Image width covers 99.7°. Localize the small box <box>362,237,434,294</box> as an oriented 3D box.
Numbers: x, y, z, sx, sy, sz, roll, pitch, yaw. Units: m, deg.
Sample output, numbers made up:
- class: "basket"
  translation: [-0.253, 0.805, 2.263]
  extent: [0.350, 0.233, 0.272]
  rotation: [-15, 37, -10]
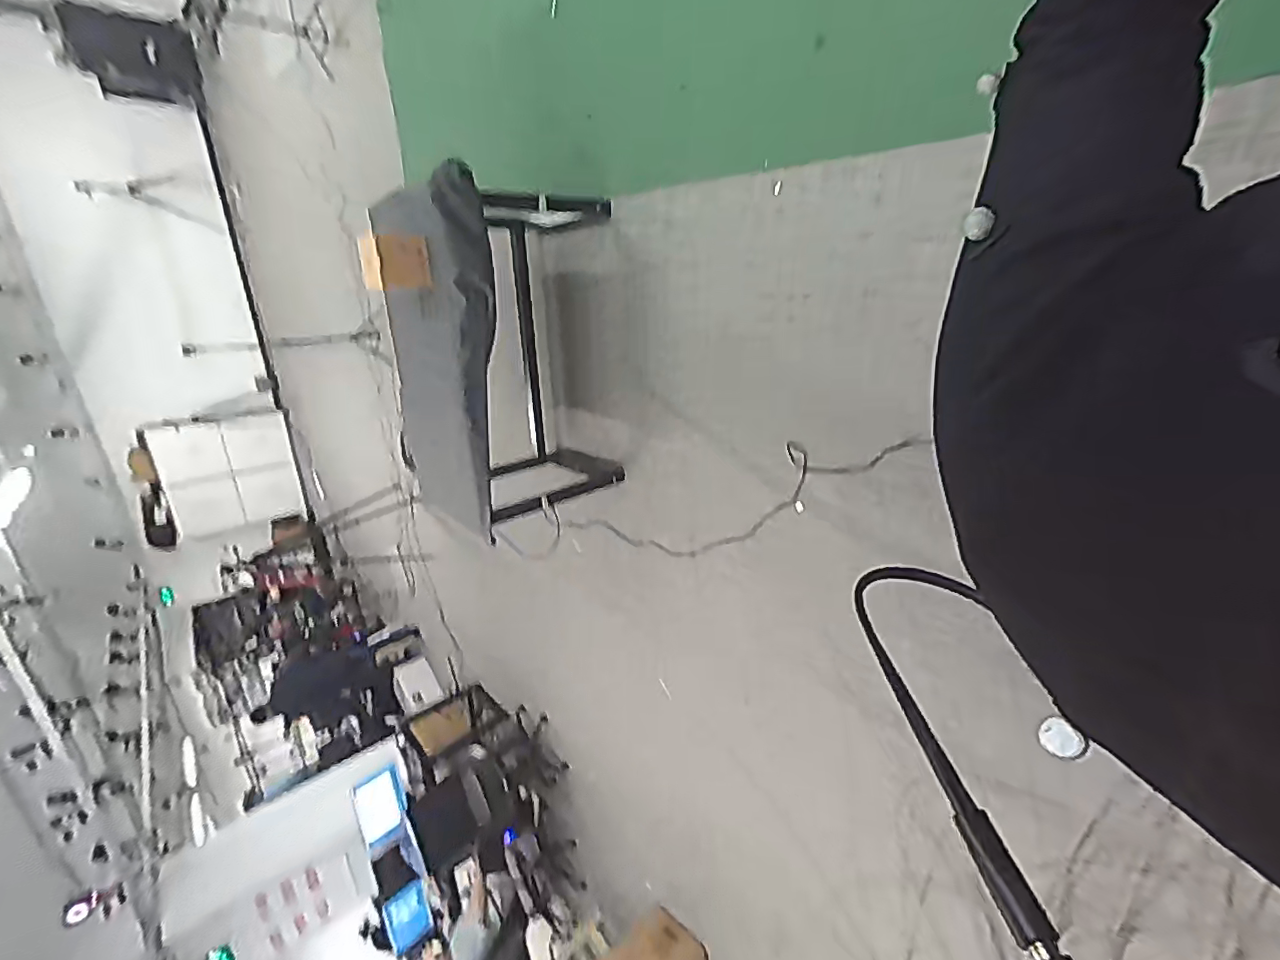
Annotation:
- class: "small box"
  translation: [-0.805, -0.718, 1.816]
  extent: [0.179, 0.176, 0.168]
  rotation: [17, 117, 48]
